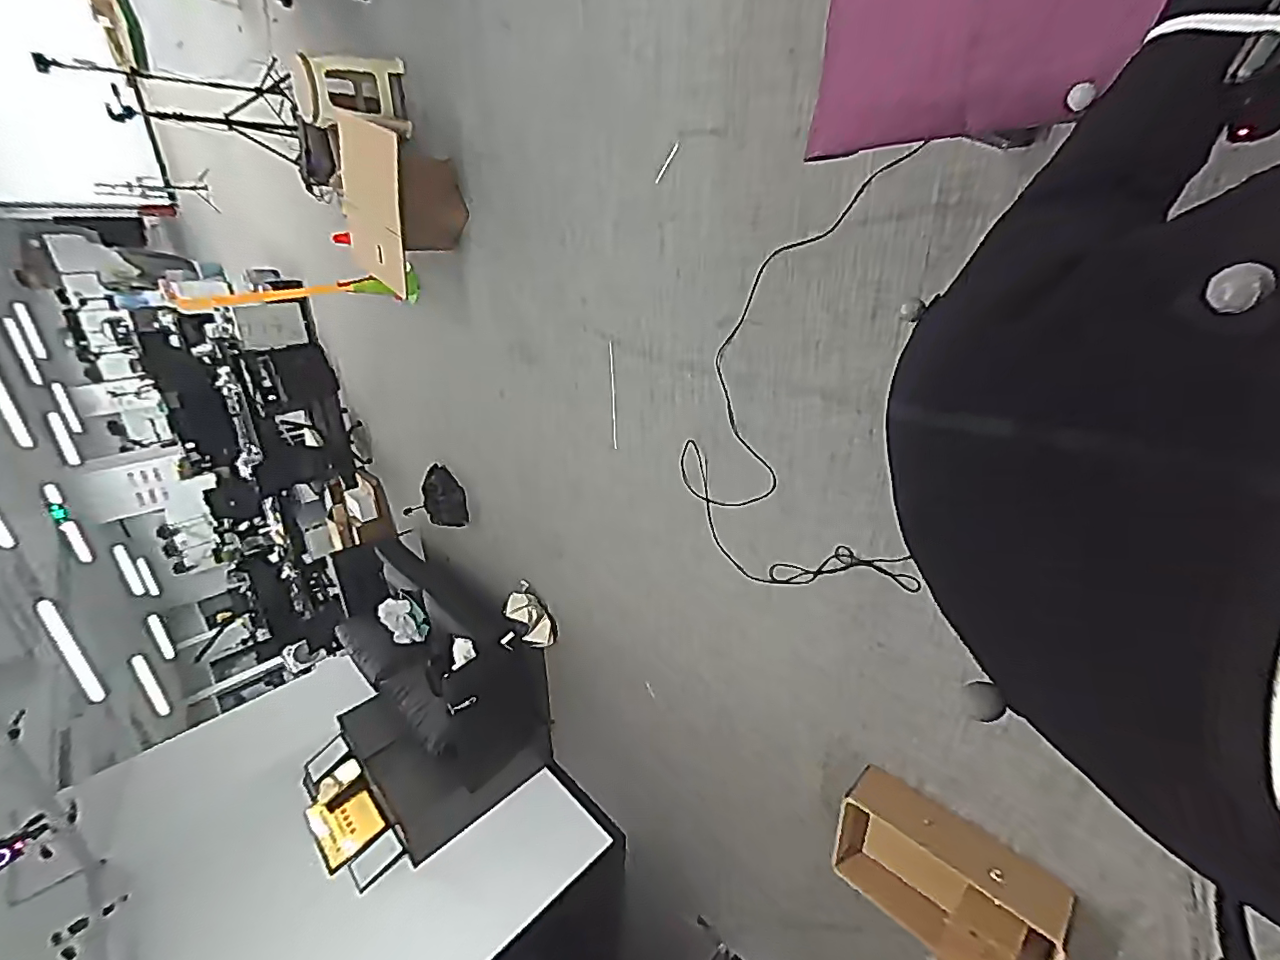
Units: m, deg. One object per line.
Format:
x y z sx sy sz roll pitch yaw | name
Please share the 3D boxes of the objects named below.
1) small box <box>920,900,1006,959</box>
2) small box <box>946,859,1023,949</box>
0.918 1.373 1.548 0.168 0.176 0.179 22 124 42 | small box
1.036 1.319 1.647 0.168 0.176 0.179 23 125 41 | small box
